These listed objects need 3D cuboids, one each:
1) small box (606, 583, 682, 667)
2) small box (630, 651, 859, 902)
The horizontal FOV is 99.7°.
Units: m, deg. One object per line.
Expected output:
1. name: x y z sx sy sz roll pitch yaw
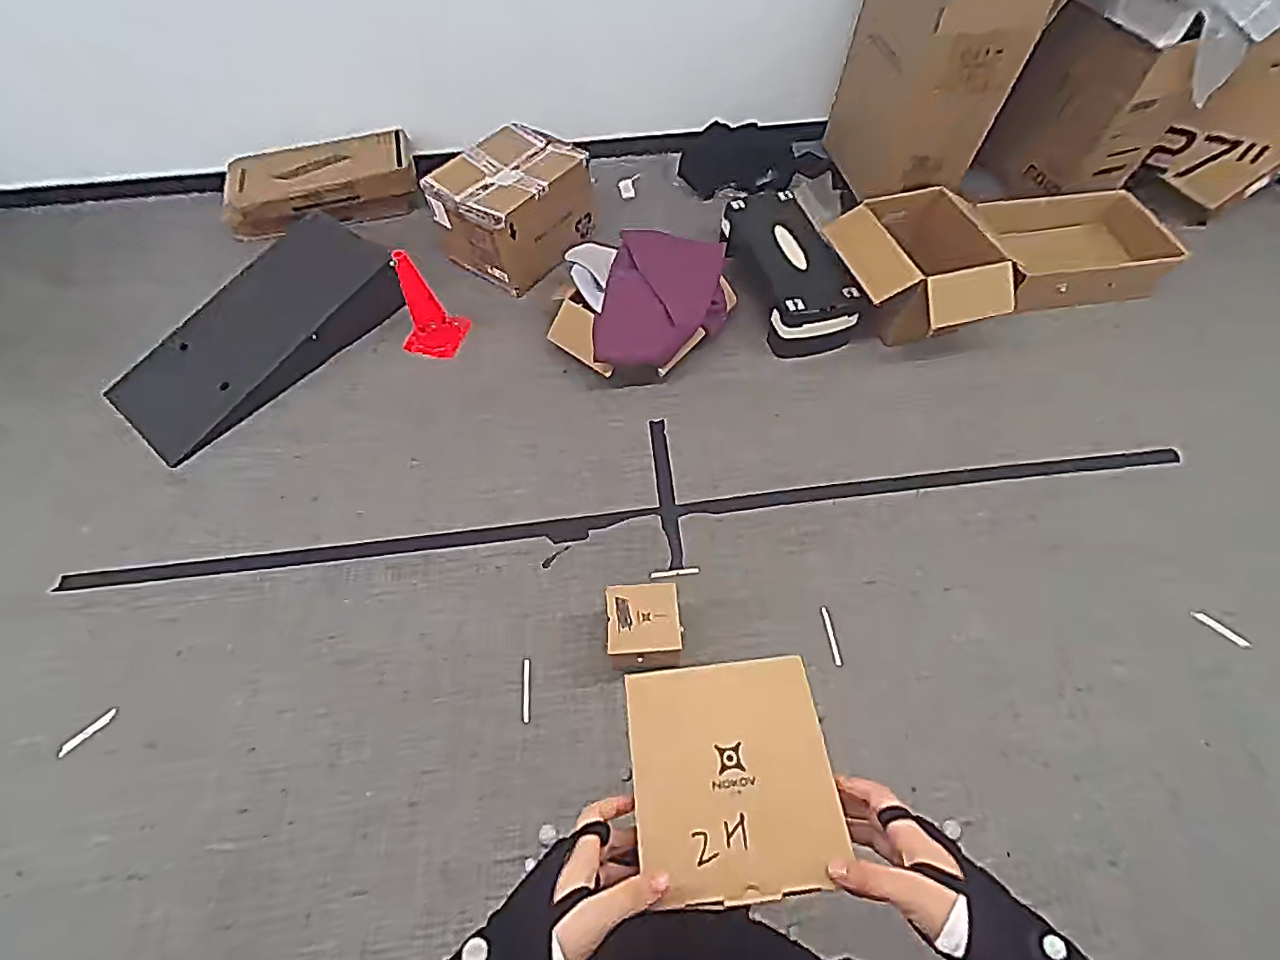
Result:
1. small box: 0.009 0.367 1.358 0.179 0.176 0.168 -3 60 -1
2. small box: 0.081 0.282 0.517 0.168 0.176 0.179 -7 56 0
